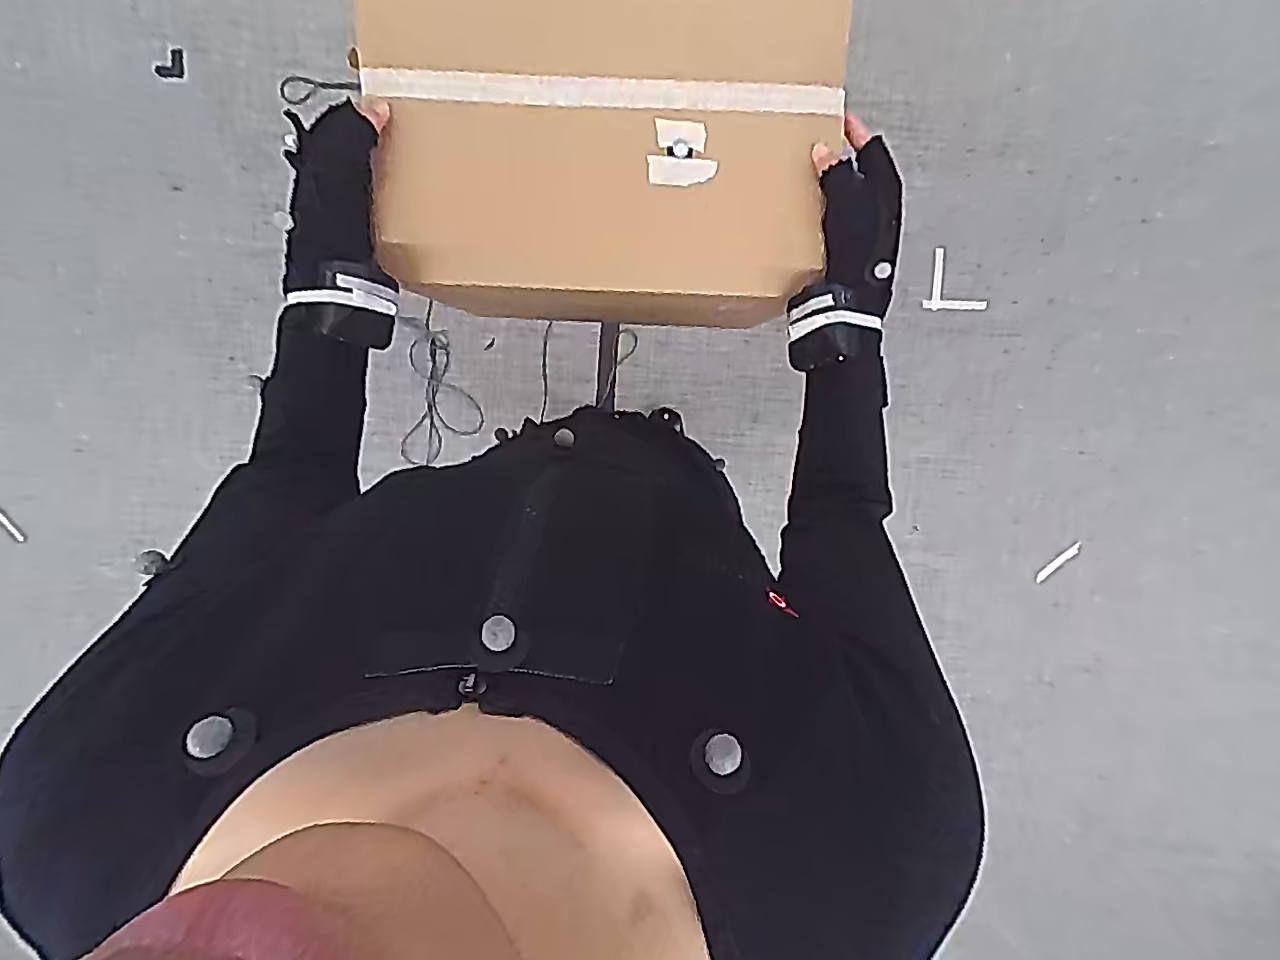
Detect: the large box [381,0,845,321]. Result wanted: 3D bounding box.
[{"bbox_3d":[-0.028,-0.361,0.622,0.408,0.320,0.320,2,102,-1],"label":"large box"}]
